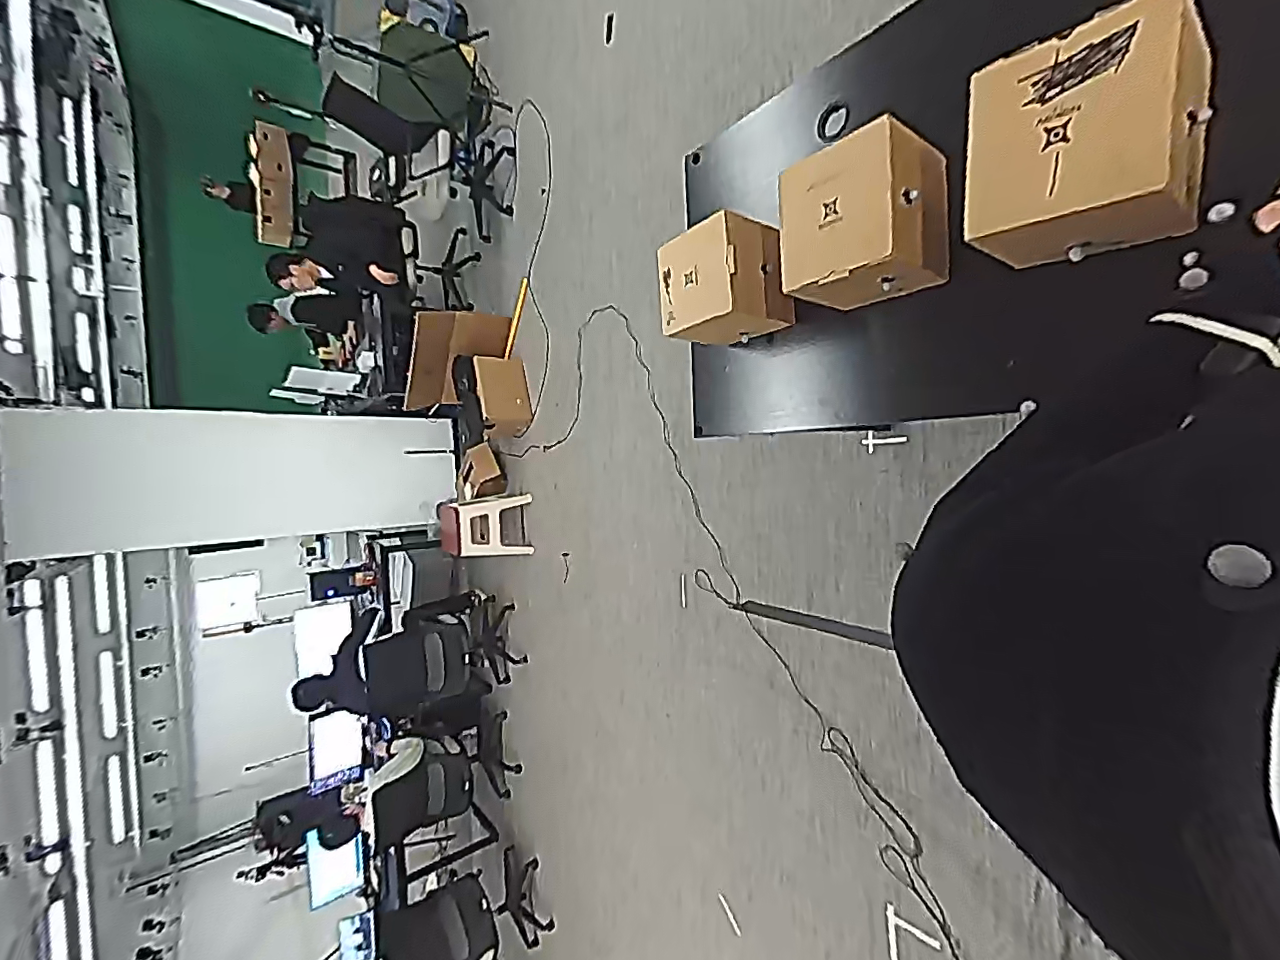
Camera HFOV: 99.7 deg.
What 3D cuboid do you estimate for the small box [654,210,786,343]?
[{"bbox_3d":[0.148,-0.354,0.975,0.179,0.176,0.168,-3,90,51],"label":"small box"}]

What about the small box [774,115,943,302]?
[{"bbox_3d":[0.312,-0.363,0.770,0.168,0.176,0.179,-1,91,51],"label":"small box"}]

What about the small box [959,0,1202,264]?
[{"bbox_3d":[0.465,-0.350,0.574,0.168,0.176,0.179,7,99,51],"label":"small box"}]
